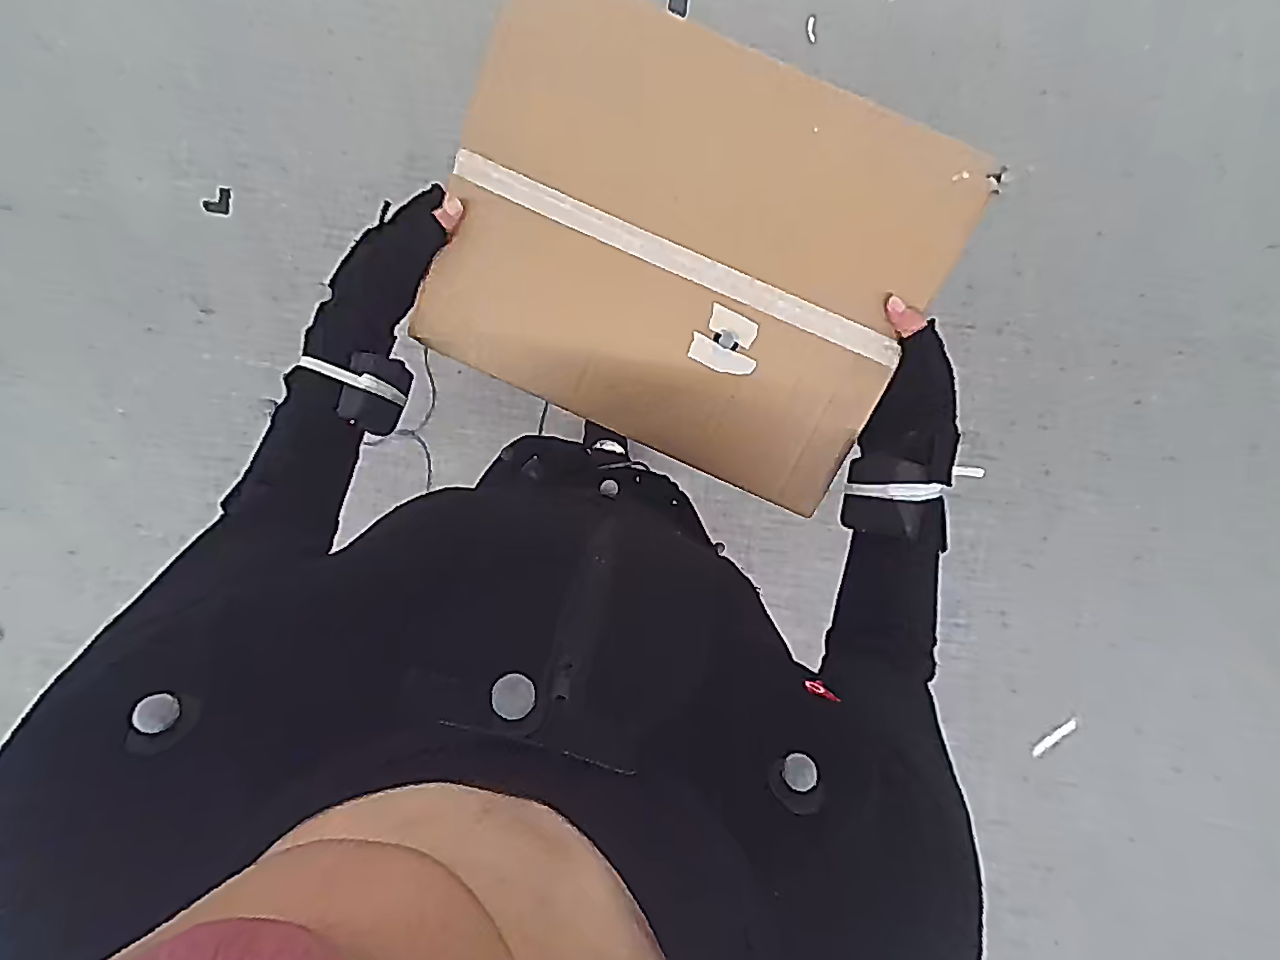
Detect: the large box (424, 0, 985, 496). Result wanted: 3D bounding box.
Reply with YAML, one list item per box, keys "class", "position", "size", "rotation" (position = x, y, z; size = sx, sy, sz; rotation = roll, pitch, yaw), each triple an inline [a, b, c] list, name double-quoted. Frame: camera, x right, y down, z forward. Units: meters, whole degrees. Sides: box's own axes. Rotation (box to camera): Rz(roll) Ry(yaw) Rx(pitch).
- class: "large box"
  position: [0.048, -0.231, 0.607]
  size: [0.408, 0.320, 0.320]
  rotation: [24, 107, -1]
